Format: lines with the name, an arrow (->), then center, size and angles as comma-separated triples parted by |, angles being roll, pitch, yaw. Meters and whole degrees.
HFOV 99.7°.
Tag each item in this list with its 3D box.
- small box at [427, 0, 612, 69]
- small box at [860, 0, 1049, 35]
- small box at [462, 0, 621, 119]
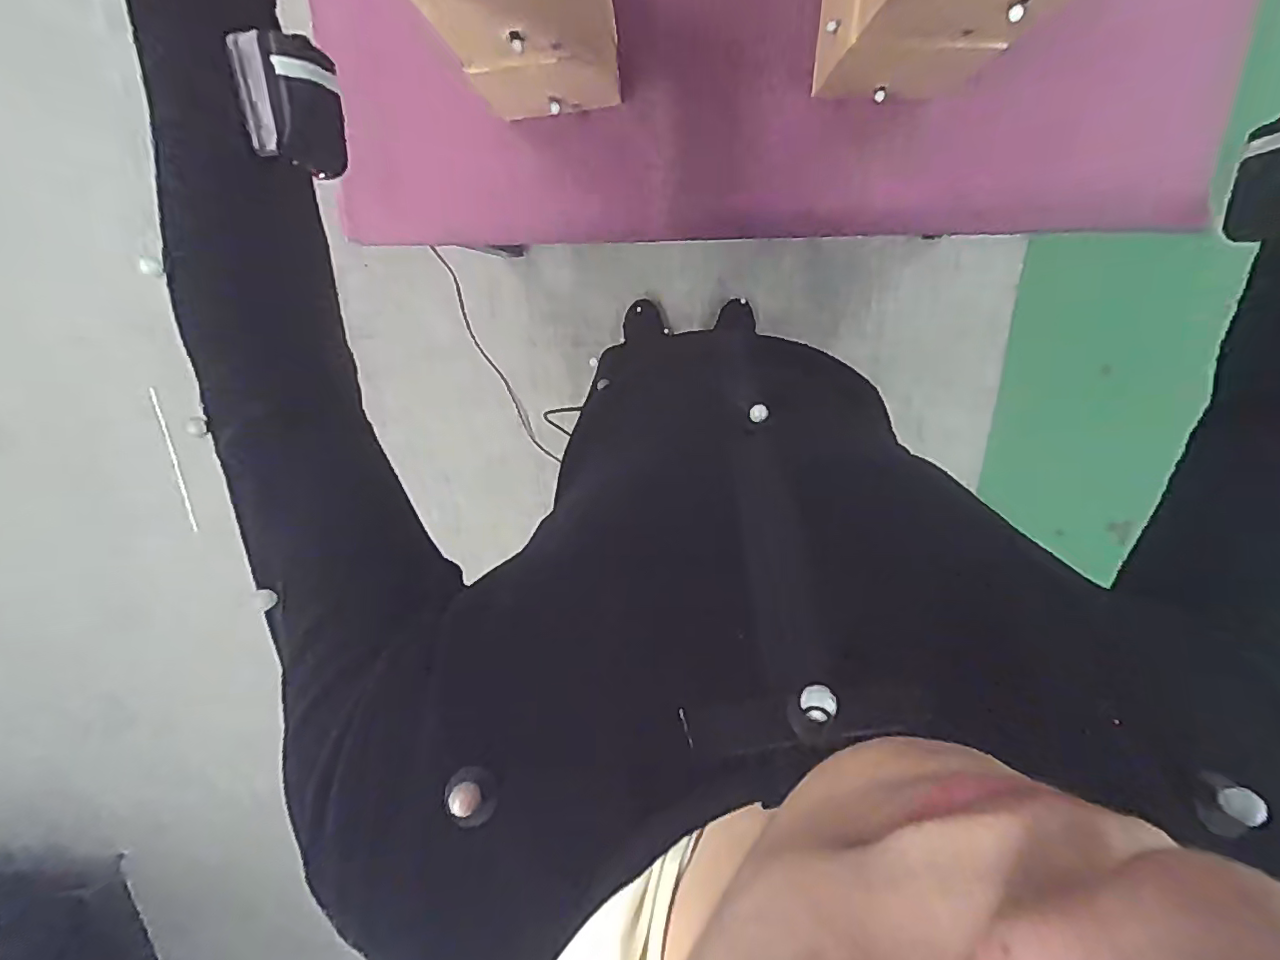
small box -> -0.123, -0.519, 0.489 | 0.168, 0.176, 0.179 | -7, 108, 5
small box -> 0.303, -0.517, 0.463 | 0.168, 0.176, 0.179 | 2, 108, 3
small box -> -0.116, -0.565, 0.645 | 0.168, 0.176, 0.179 | -4, 108, 5
